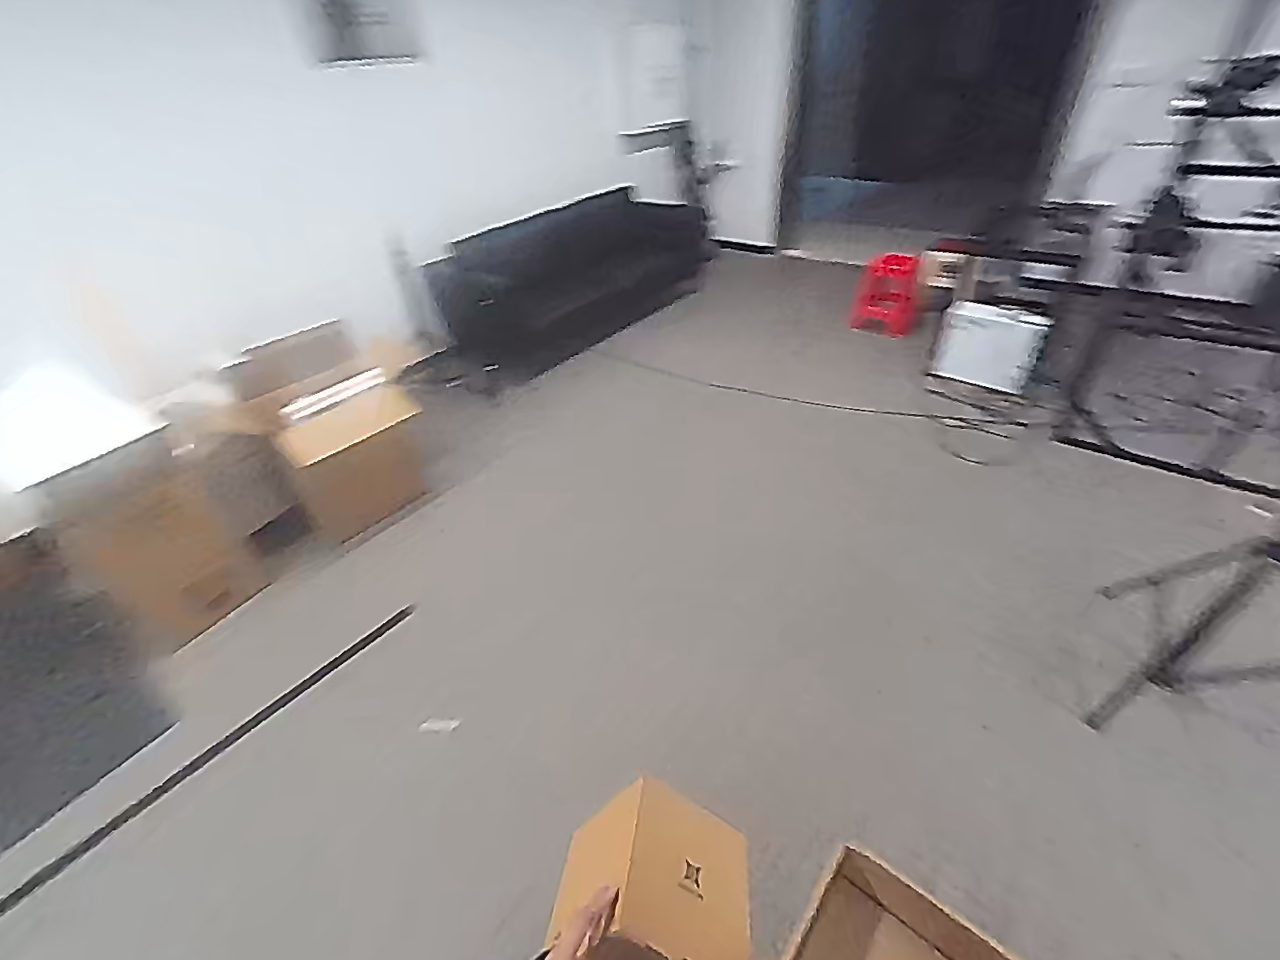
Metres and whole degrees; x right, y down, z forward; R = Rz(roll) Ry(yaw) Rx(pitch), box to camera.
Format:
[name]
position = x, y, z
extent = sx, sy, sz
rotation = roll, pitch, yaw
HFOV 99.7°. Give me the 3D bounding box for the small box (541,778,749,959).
[small box]
position = 0.008, 0.502, 0.629
extent = 0.168, 0.176, 0.179
rotation = 36, 24, -8
